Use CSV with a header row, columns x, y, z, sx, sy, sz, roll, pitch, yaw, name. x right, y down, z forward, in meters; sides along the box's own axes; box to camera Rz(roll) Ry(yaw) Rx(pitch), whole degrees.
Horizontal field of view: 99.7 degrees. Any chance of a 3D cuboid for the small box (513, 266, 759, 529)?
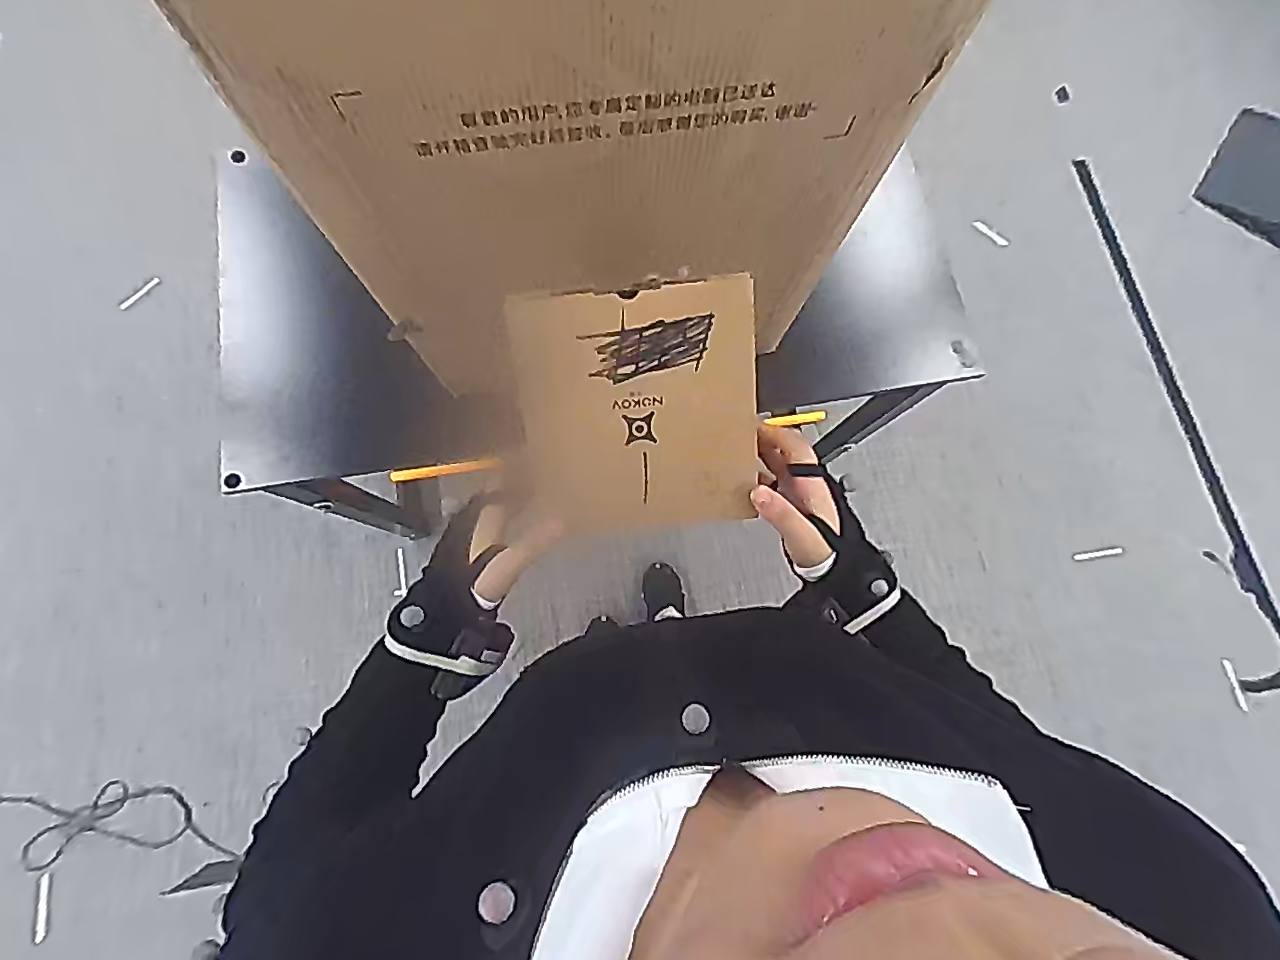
x,y,z,sx,sy,sz,roll,pitch,yaw,name
-0.002,-0.075,0.463,0.168,0.176,0.179,-6,107,0,small box
